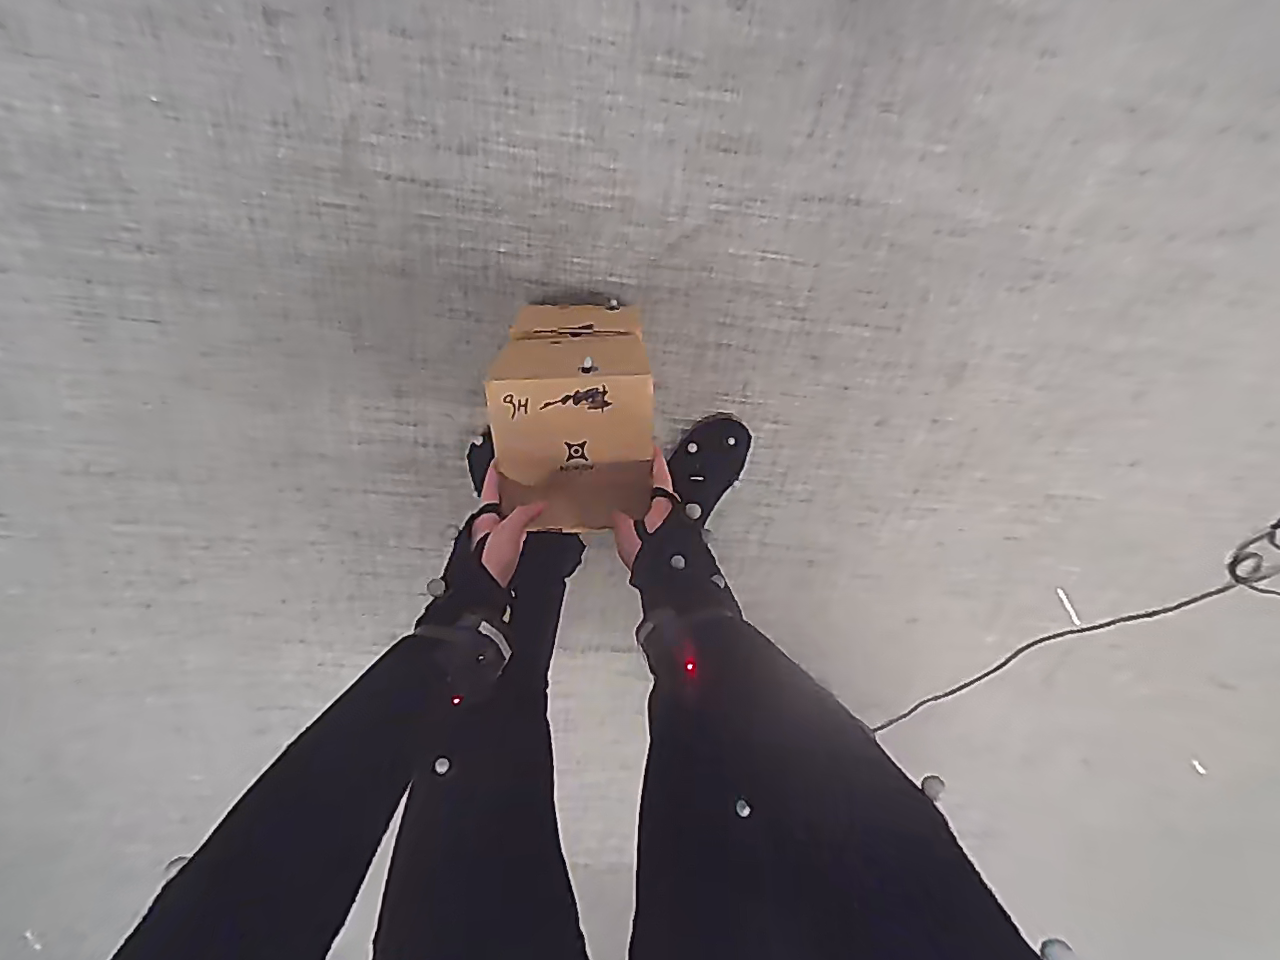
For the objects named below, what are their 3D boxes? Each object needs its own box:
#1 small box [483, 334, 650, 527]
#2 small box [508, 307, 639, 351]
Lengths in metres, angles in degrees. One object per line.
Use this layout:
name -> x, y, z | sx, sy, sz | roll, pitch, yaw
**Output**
small box -> -0.078, -0.063, 0.637 | 0.168, 0.176, 0.179 | -2, 119, -4
small box -> -0.093, -0.147, 0.778 | 0.168, 0.176, 0.179 | 0, 119, -5
